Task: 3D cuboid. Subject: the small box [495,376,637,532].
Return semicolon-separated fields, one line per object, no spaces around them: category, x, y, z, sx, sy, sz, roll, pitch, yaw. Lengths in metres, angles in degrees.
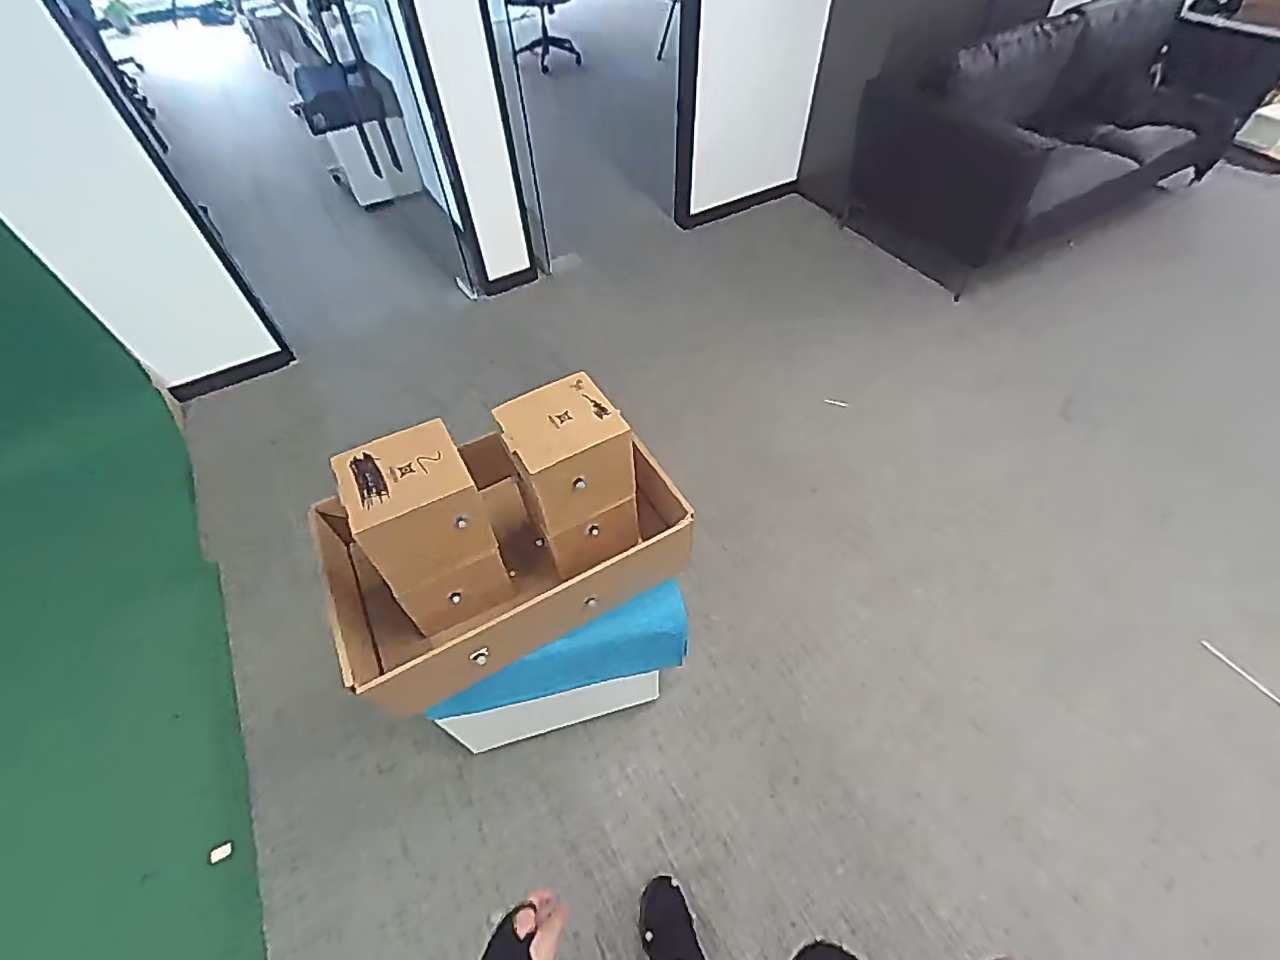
small box;-0.120;-0.041;0.927;0.179;0.176;0.168;-27;56;-15
